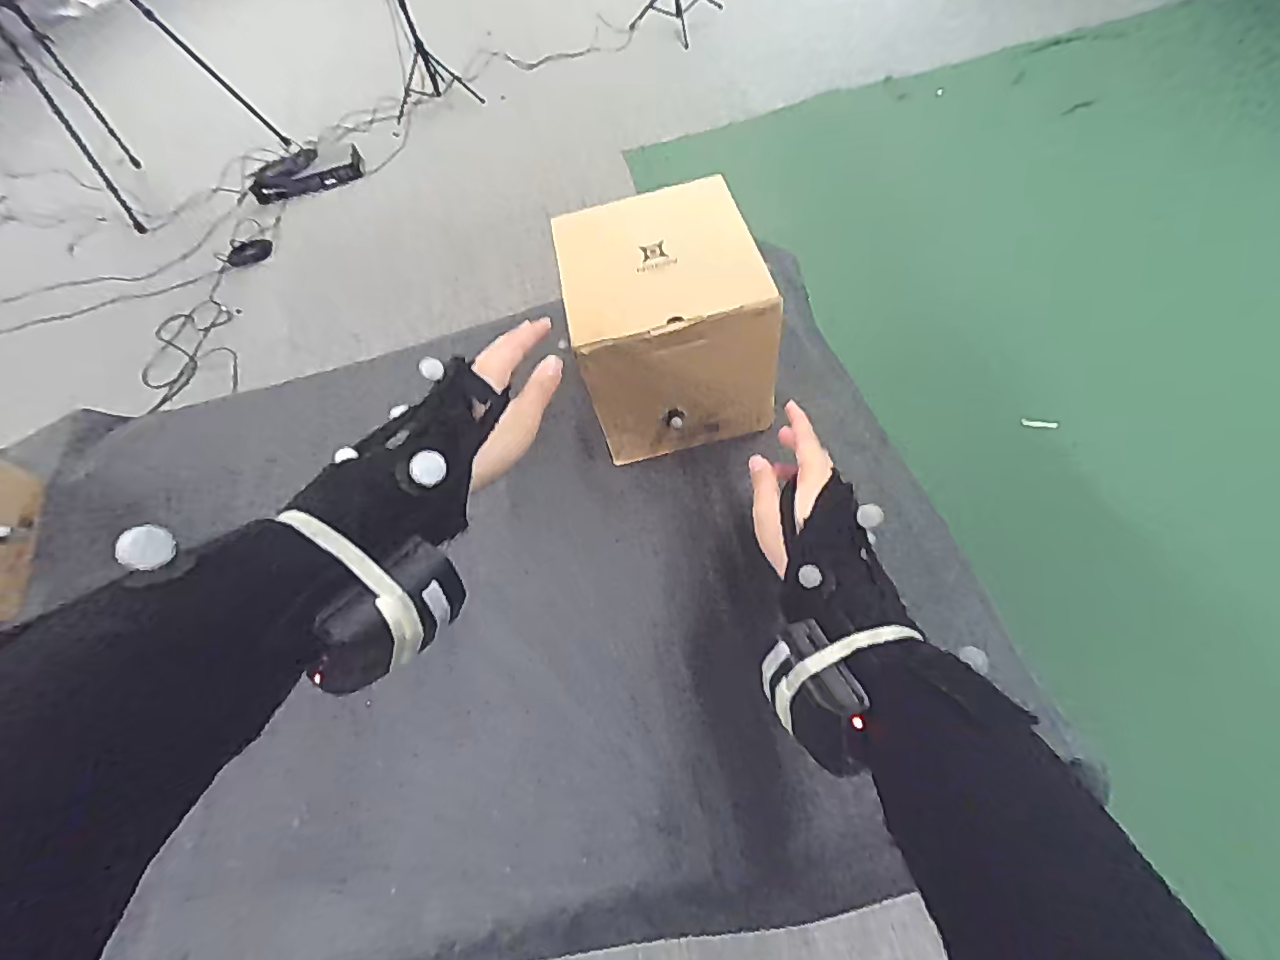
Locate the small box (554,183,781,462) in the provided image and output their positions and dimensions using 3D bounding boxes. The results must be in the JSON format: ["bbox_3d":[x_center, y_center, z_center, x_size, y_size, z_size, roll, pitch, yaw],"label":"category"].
[{"bbox_3d":[0.024,-0.145,0.525,0.168,0.176,0.179,-14,59,1],"label":"small box"}]
